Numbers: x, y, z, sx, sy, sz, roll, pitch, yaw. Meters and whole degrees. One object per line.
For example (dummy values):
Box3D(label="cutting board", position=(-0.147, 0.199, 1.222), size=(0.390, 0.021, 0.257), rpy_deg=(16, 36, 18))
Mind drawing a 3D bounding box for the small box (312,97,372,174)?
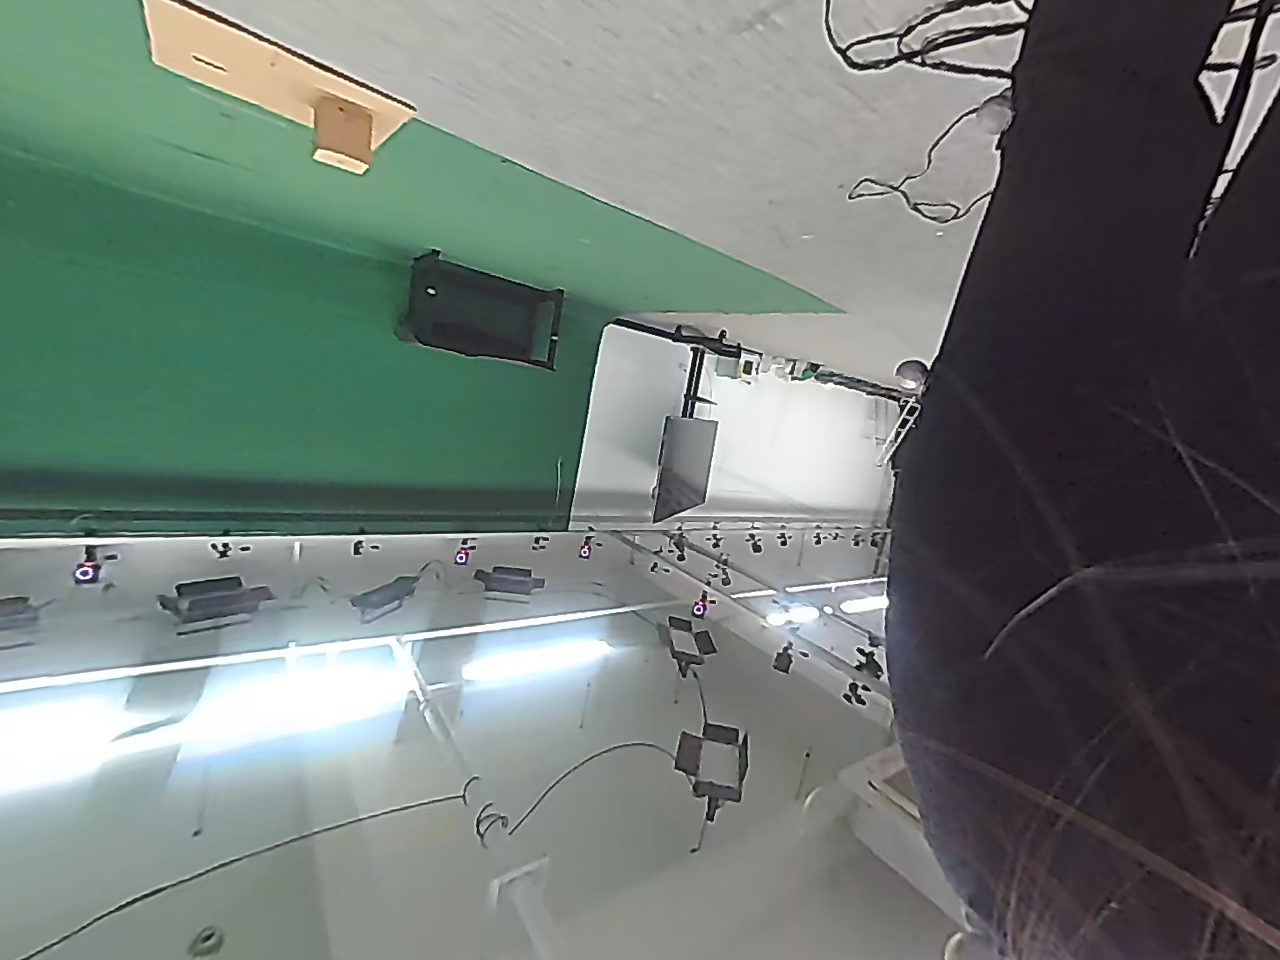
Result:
Box3D(label="small box", position=(-1.087, -1.253, 1.971), size=(0.168, 0.176, 0.179), rpy_deg=(1, -167, -38))
